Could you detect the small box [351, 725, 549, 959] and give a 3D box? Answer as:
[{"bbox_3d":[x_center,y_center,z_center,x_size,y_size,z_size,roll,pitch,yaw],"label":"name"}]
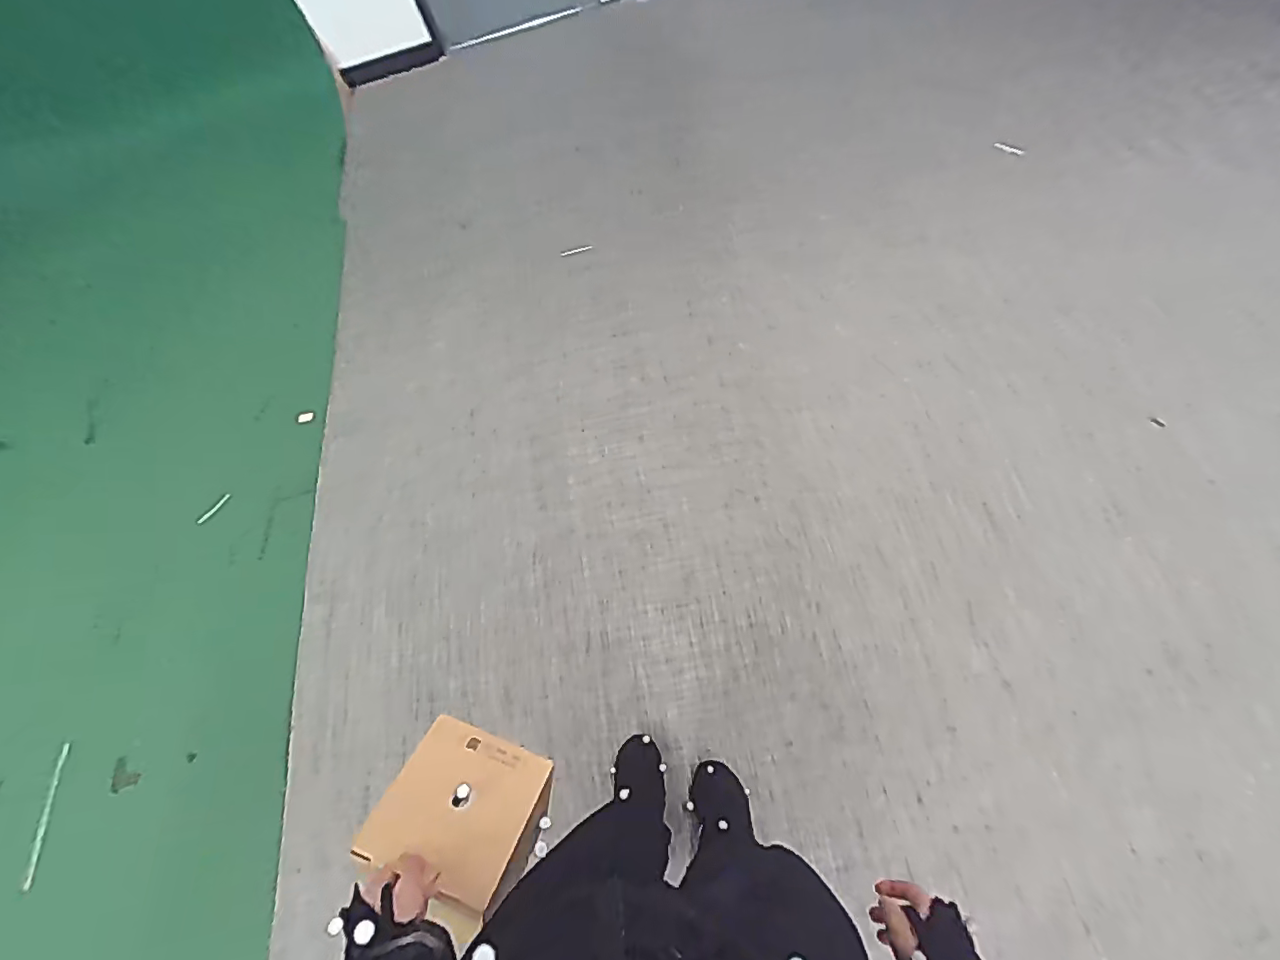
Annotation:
[{"bbox_3d":[-0.224,0.444,0.677,0.168,0.179,0.176,17,35,8],"label":"small box"}]
